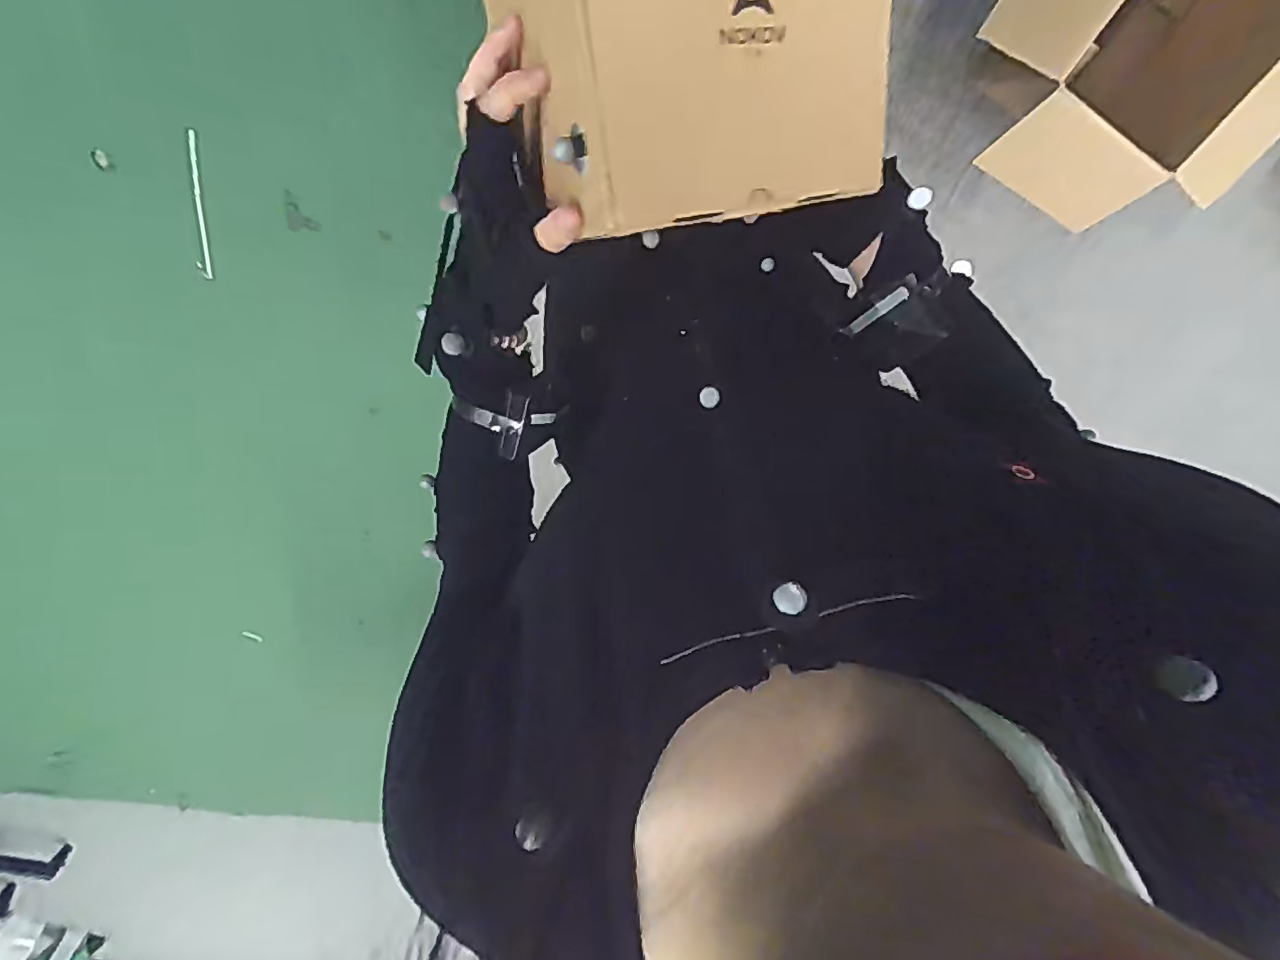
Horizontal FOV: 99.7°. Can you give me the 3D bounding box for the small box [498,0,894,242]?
[{"bbox_3d":[0.022,-0.251,0.320,0.168,0.176,0.179,-18,116,-17],"label":"small box"}]
